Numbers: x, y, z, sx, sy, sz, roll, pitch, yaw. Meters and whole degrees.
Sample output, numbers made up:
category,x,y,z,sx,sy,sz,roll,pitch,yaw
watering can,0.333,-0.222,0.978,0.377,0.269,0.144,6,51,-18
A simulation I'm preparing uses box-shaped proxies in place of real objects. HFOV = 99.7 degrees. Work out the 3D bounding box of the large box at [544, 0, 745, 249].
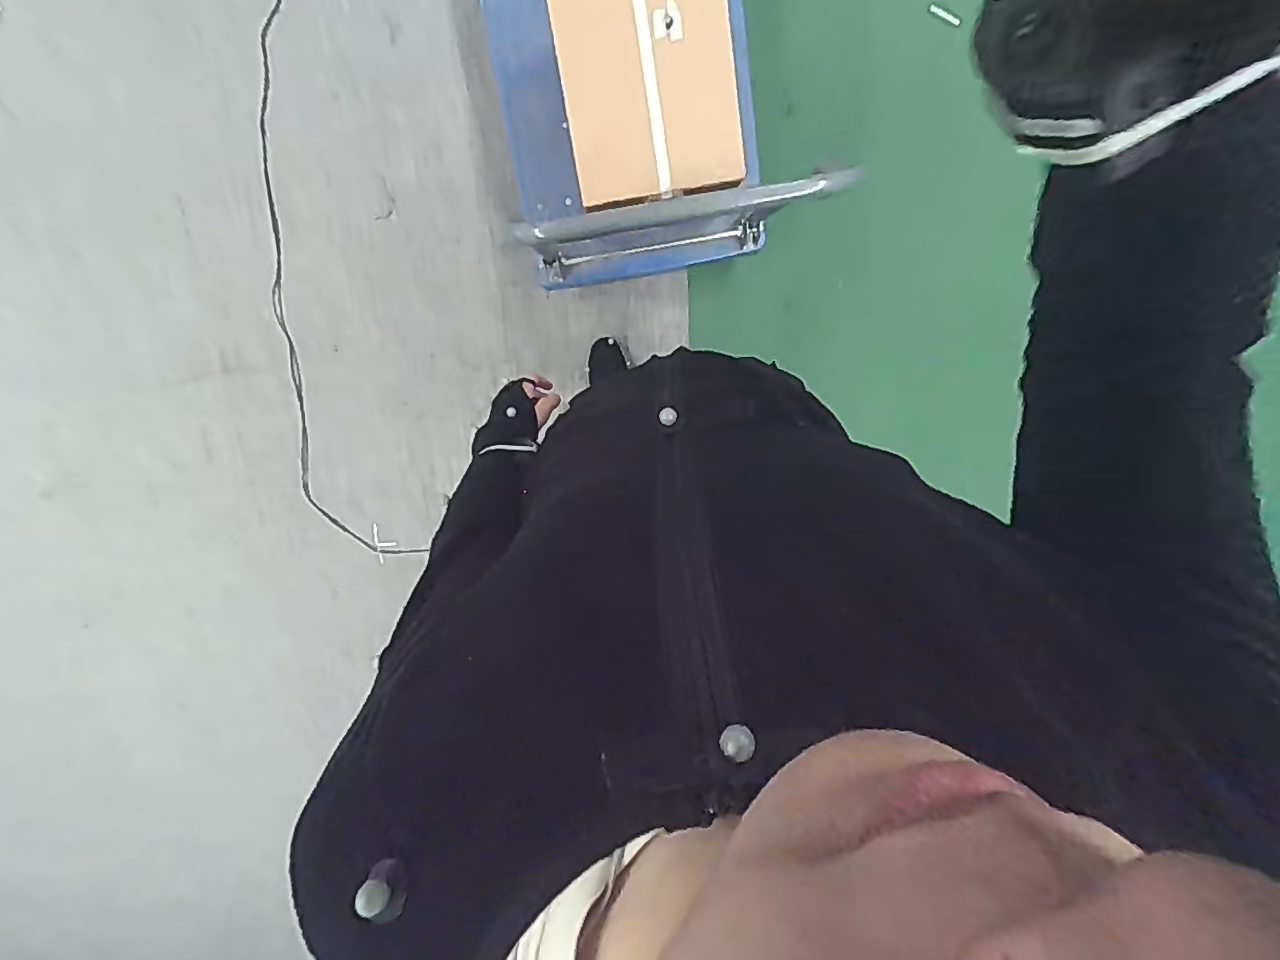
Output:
category,x,y,z,sx,sy,sz,roll,pitch,yaw
large box,0.011,-0.746,1.129,0.320,0.320,0.408,-10,102,0
